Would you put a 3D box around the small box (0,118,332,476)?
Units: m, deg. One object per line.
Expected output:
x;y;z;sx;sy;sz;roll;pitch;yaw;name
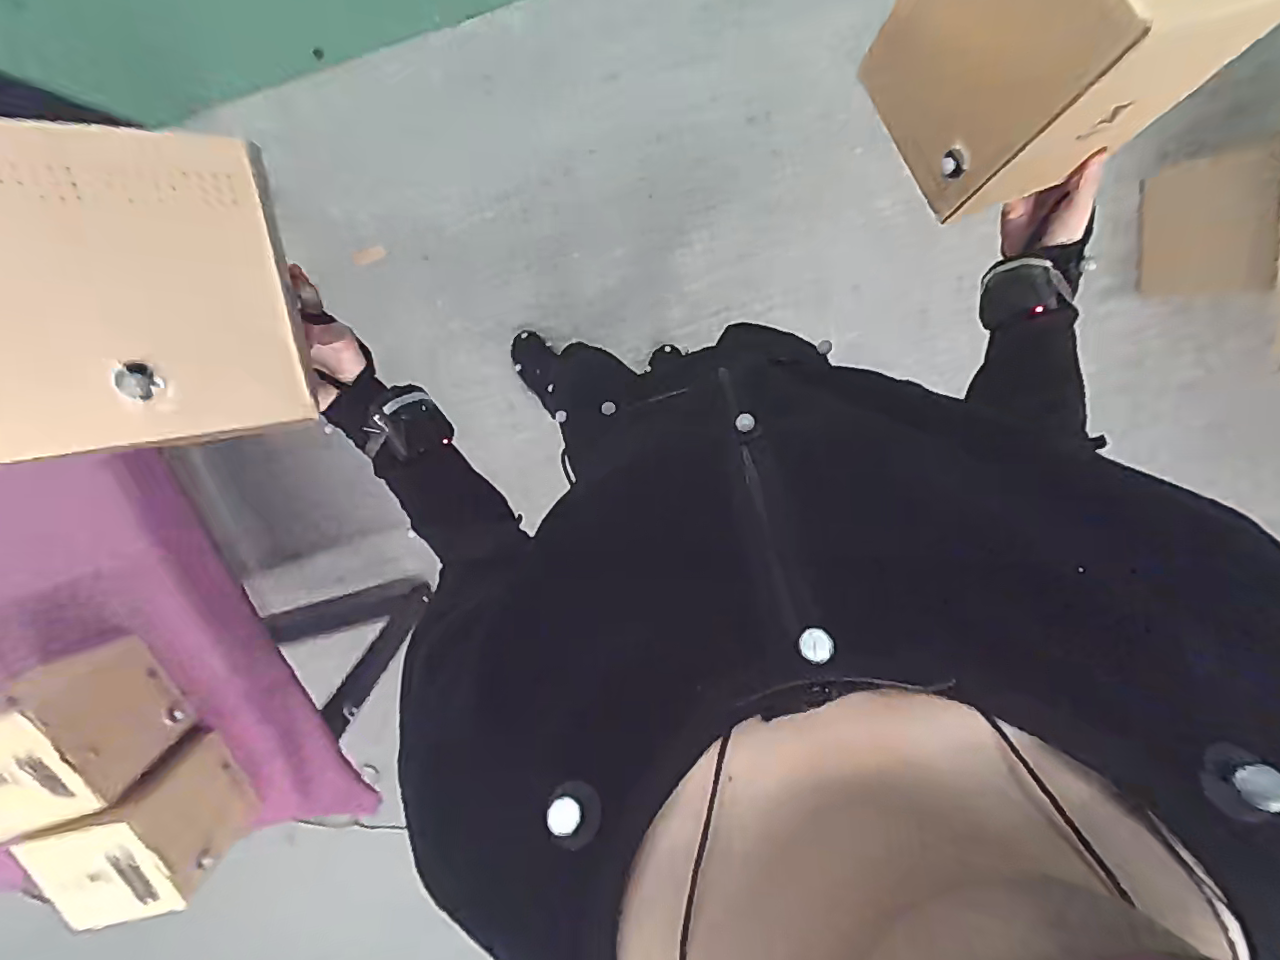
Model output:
-0.318;-0.126;0.348;0.179;0.168;0.176;-11;123;-27;small box

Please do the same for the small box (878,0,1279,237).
0.315;-0.325;0.402;0.168;0.179;0.176;-22;85;-12;small box
